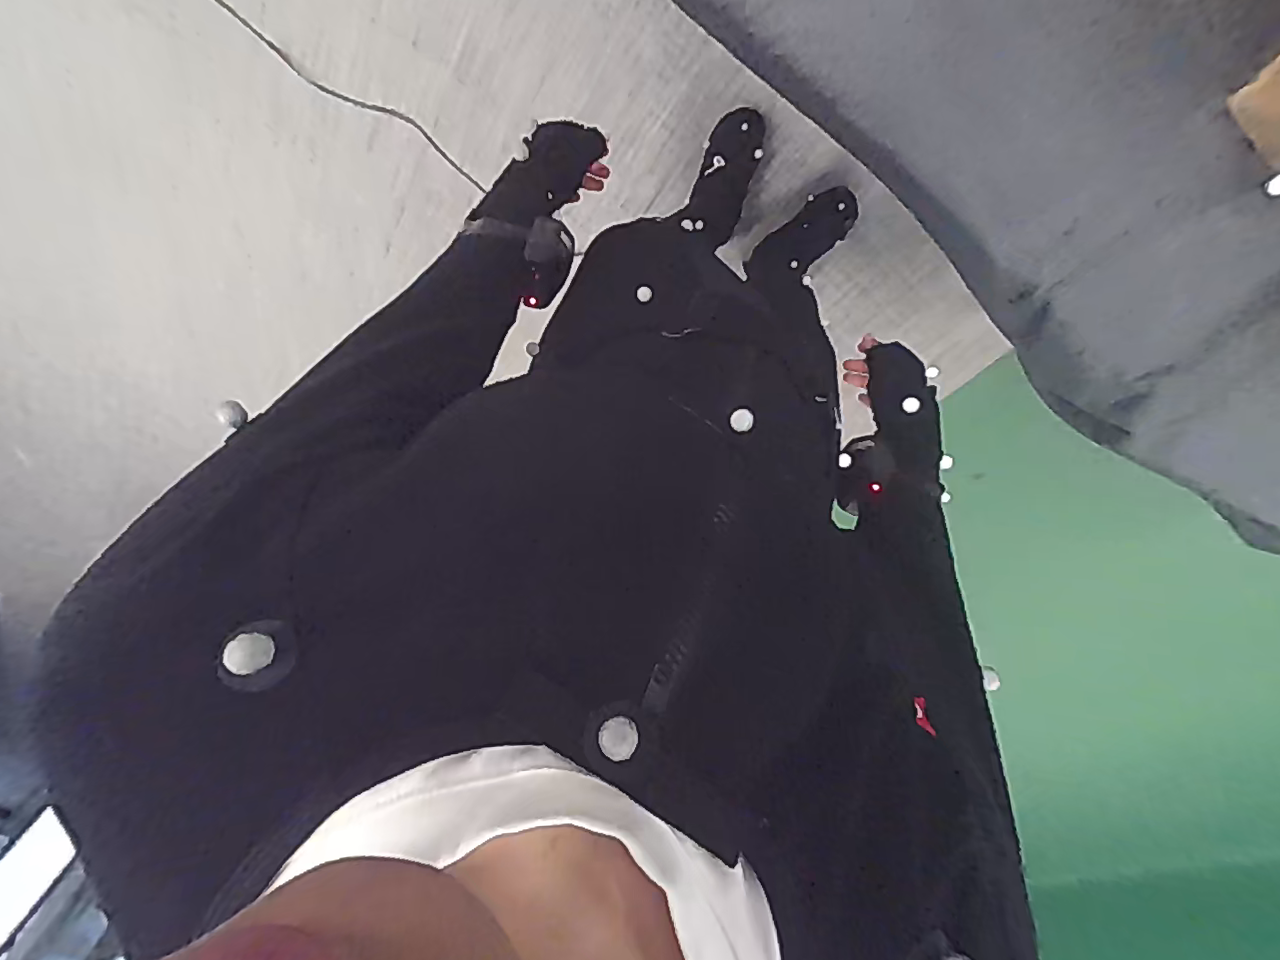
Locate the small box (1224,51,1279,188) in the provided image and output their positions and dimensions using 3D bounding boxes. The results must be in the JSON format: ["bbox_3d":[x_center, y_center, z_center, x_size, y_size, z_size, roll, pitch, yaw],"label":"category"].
[{"bbox_3d":[0.560,-0.260,0.341,0.168,0.176,0.179,31,130,-13],"label":"small box"}]
